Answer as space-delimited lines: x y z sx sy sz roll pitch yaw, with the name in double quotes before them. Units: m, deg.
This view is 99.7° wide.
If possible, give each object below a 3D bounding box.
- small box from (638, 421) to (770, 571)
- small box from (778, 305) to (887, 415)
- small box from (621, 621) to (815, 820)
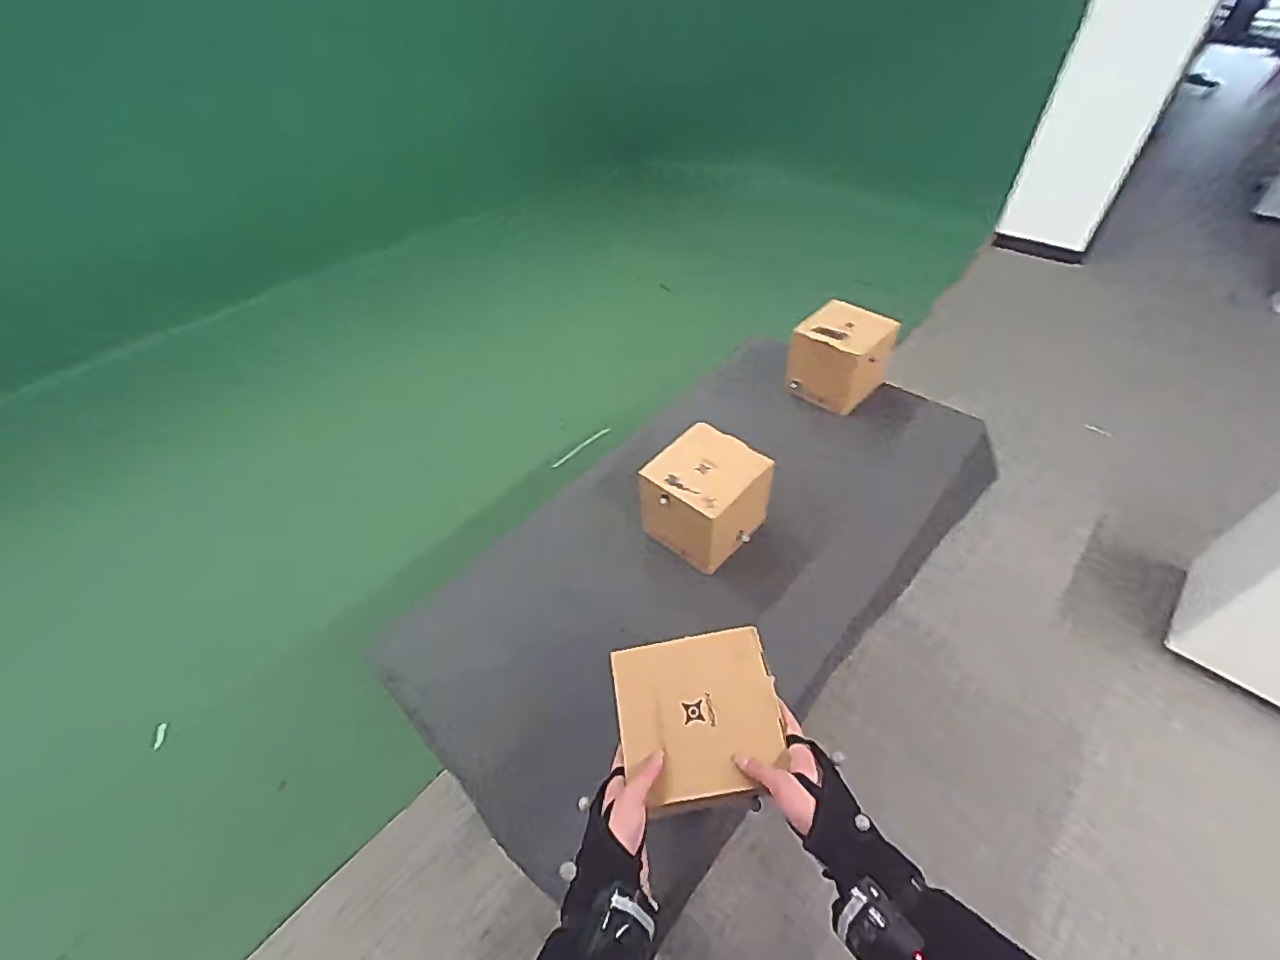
"small box" 0.109 0.029 0.987 0.168 0.176 0.179 33 54 28
"small box" 0.444 -0.280 1.275 0.168 0.176 0.179 35 55 28
"small box" 0.083 0.286 0.634 0.179 0.176 0.168 -11 53 0
